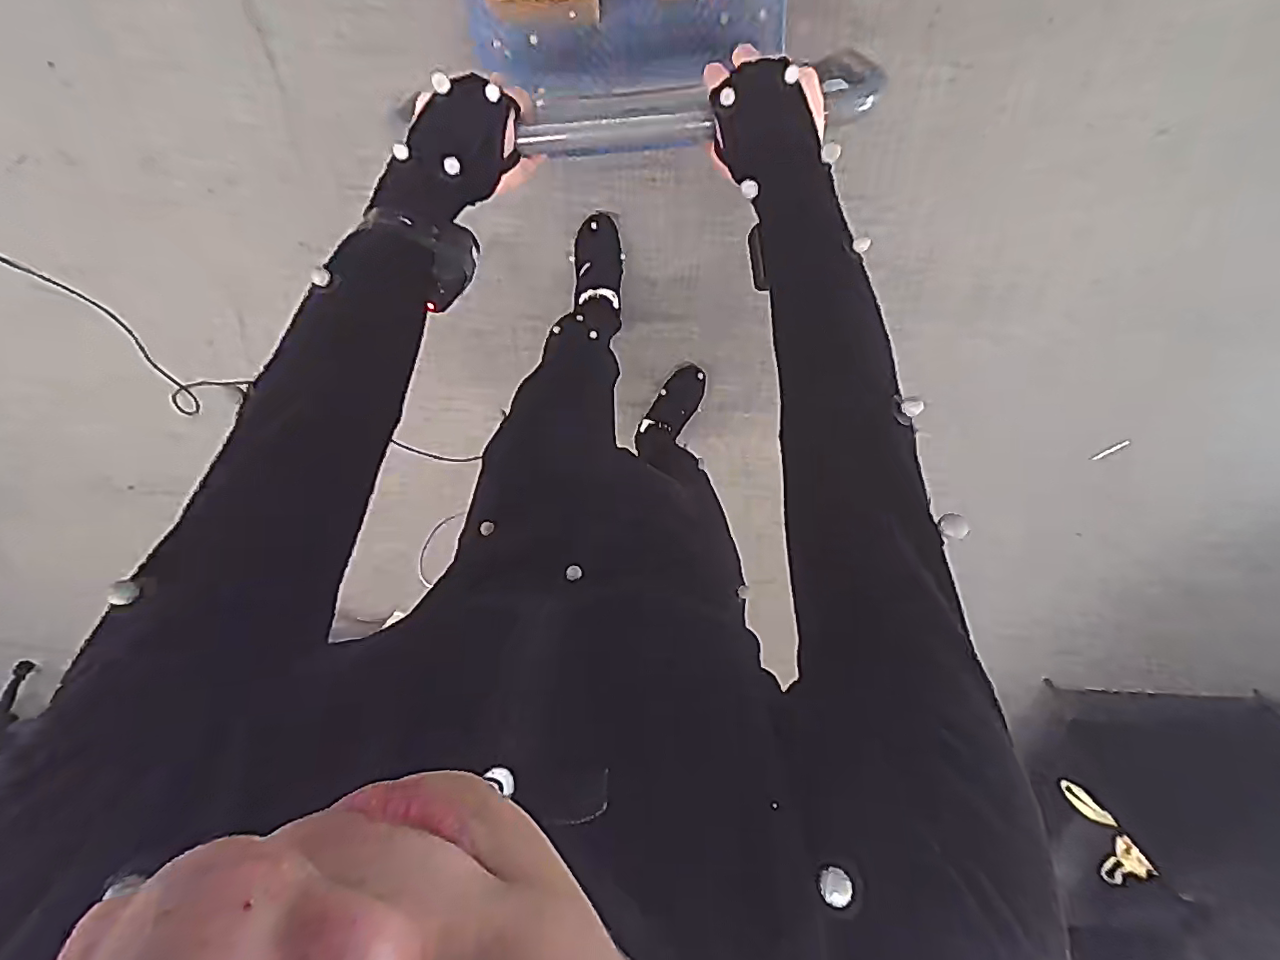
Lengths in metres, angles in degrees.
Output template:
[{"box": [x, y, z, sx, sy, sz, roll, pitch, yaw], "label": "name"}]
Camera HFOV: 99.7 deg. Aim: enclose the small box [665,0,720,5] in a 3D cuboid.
[{"box": [0.109, -0.906, 0.870, 0.168, 0.176, 0.179, -3, 120, 3], "label": "small box"}]
